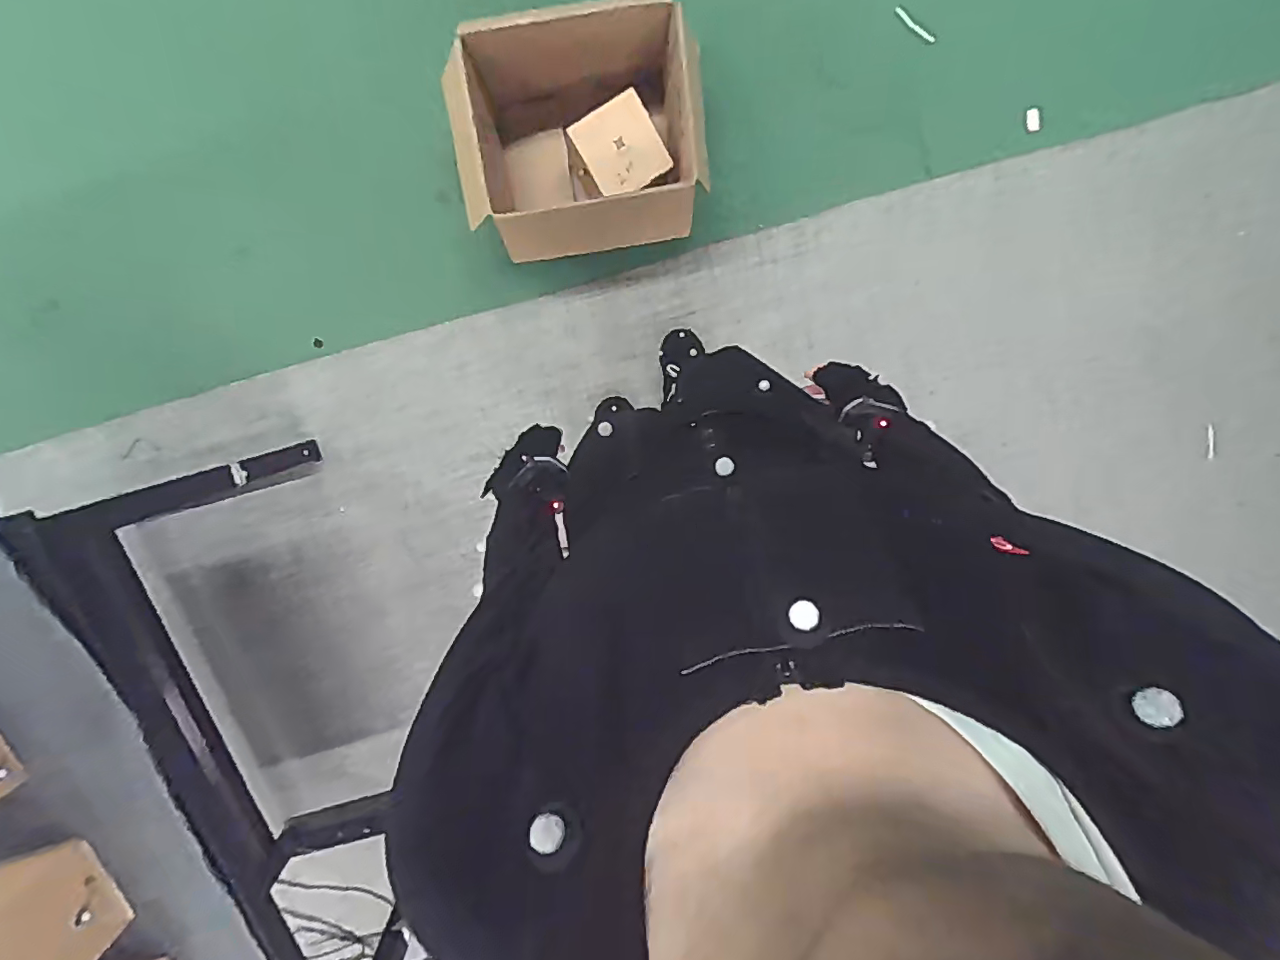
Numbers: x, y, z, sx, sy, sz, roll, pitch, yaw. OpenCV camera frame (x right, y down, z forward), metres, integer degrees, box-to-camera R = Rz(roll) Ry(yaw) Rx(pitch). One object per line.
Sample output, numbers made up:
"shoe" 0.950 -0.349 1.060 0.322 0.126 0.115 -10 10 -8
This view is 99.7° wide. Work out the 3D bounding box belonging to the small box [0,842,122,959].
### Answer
"small box" -0.919 0.665 0.768 0.179 0.176 0.168 -16 102 1
